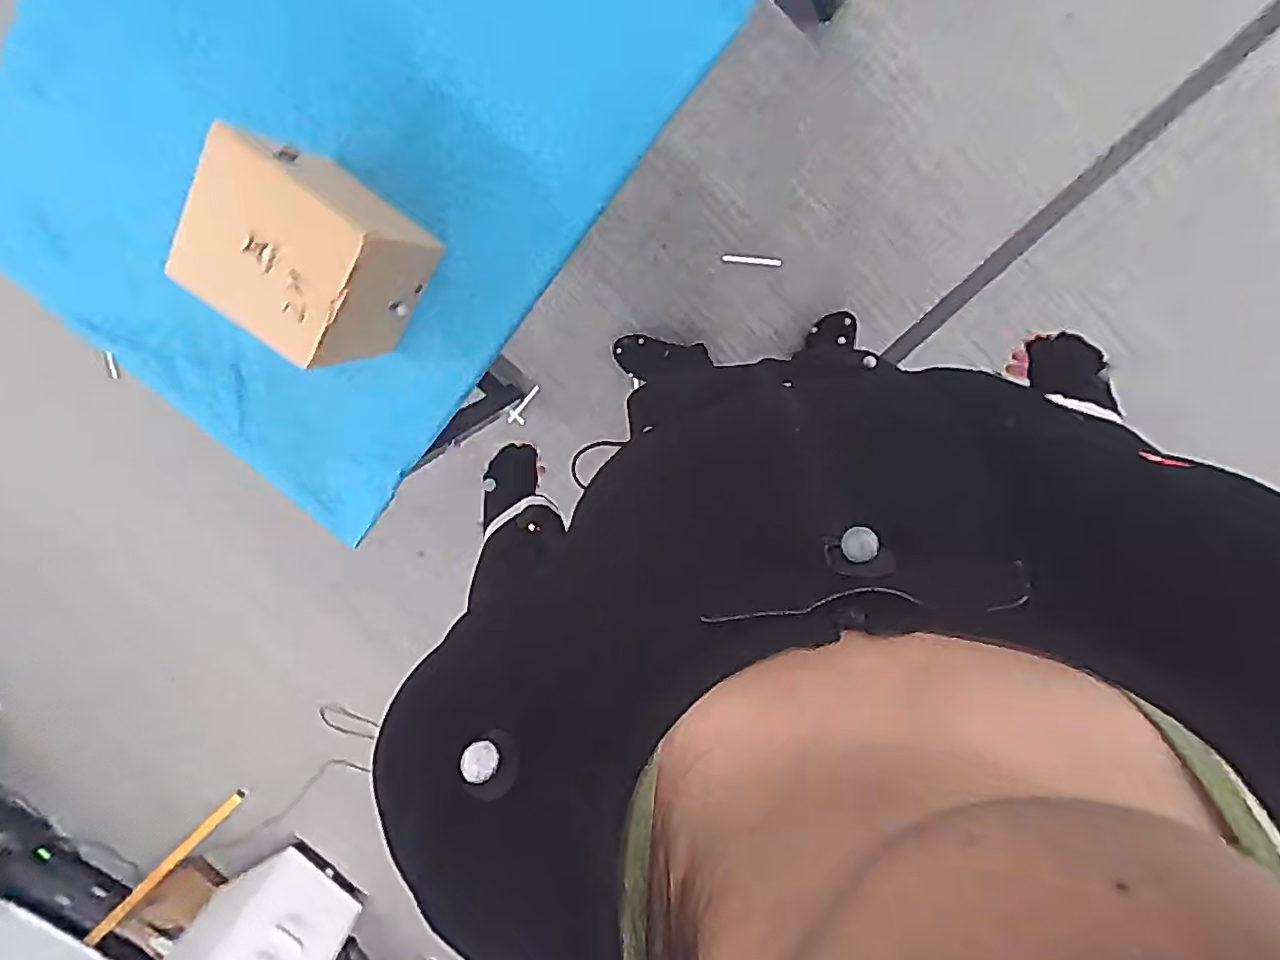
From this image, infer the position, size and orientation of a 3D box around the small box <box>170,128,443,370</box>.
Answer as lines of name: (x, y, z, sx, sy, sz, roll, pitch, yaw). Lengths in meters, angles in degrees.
small box: (-0.370, -0.256, 0.628, 0.179, 0.176, 0.168, 39, 111, -9)
